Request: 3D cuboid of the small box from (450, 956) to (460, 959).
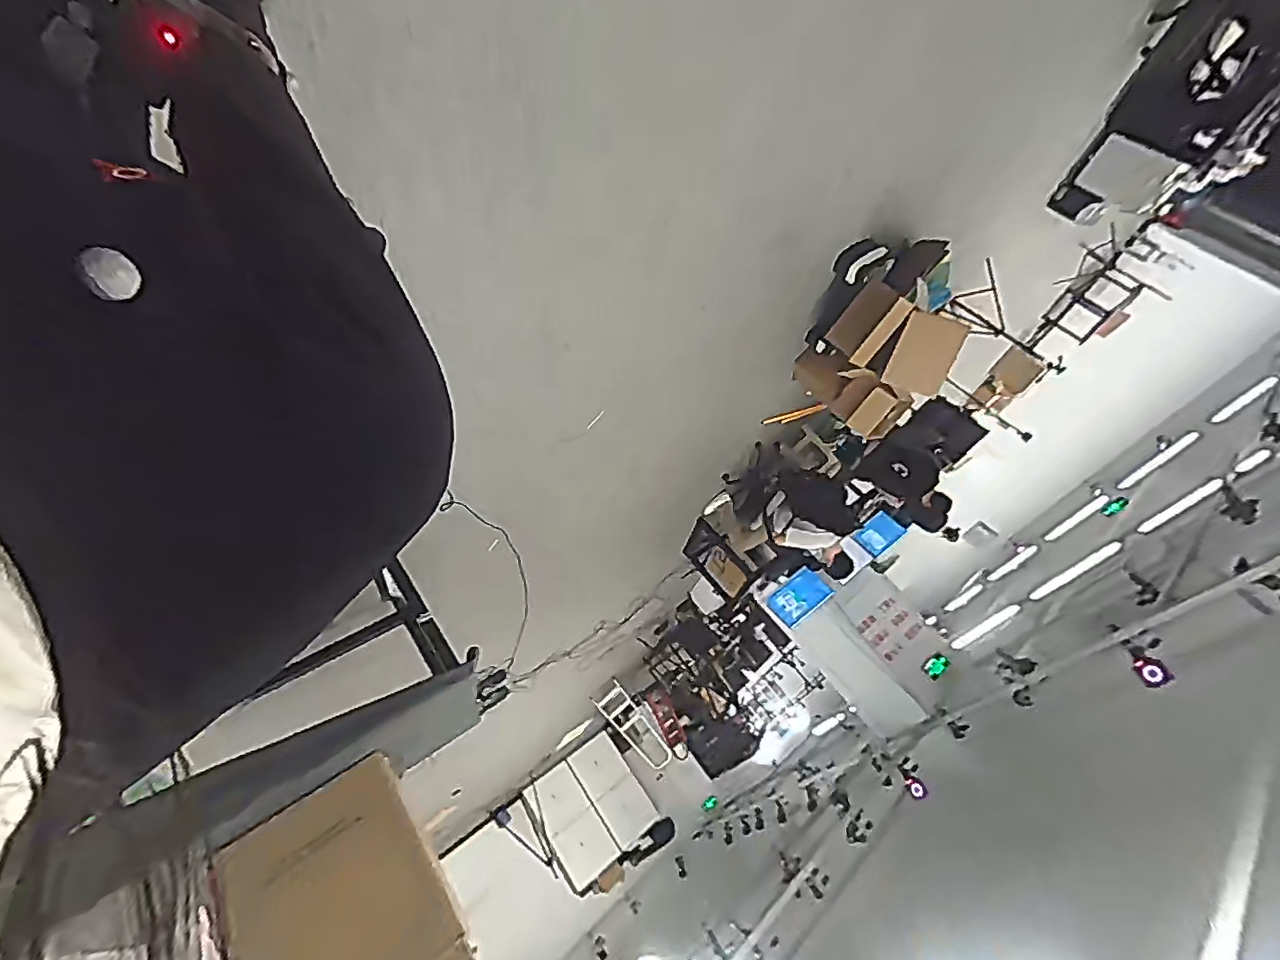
[{"bbox_3d":[-0.562,1.514,1.546,0.168,0.176,0.179,-27,149,-32],"label":"small box"}]
